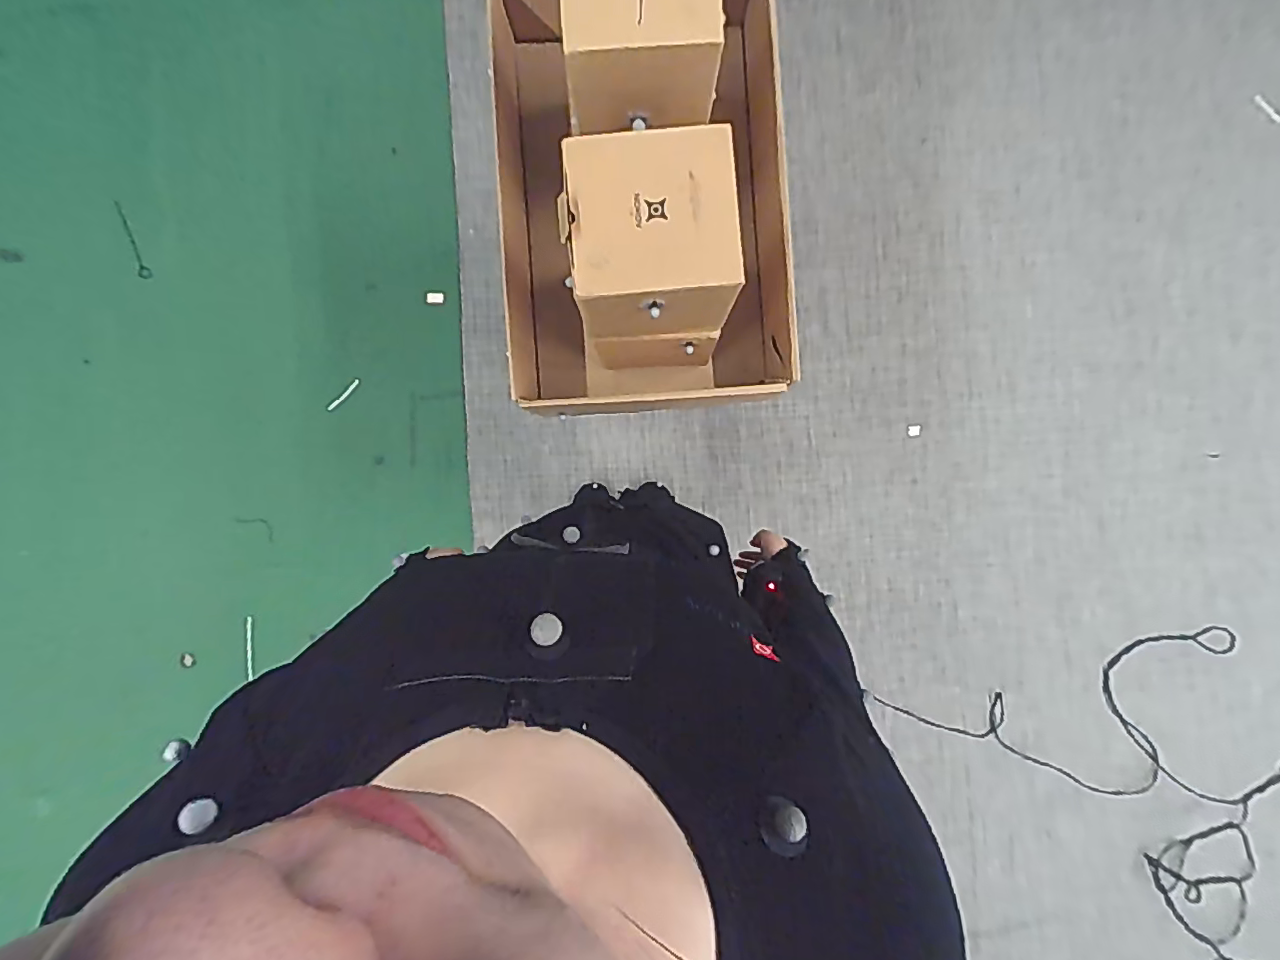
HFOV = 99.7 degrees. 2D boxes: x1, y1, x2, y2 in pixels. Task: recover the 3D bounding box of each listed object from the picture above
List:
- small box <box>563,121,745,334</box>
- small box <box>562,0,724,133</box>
[{"bbox_3d":[0.015,-0.276,0.629,0.179,0.176,0.168,-6,90,0],"label":"small box"},{"bbox_3d":[0.000,-0.528,0.623,0.168,0.176,0.179,-3,93,1],"label":"small box"}]
